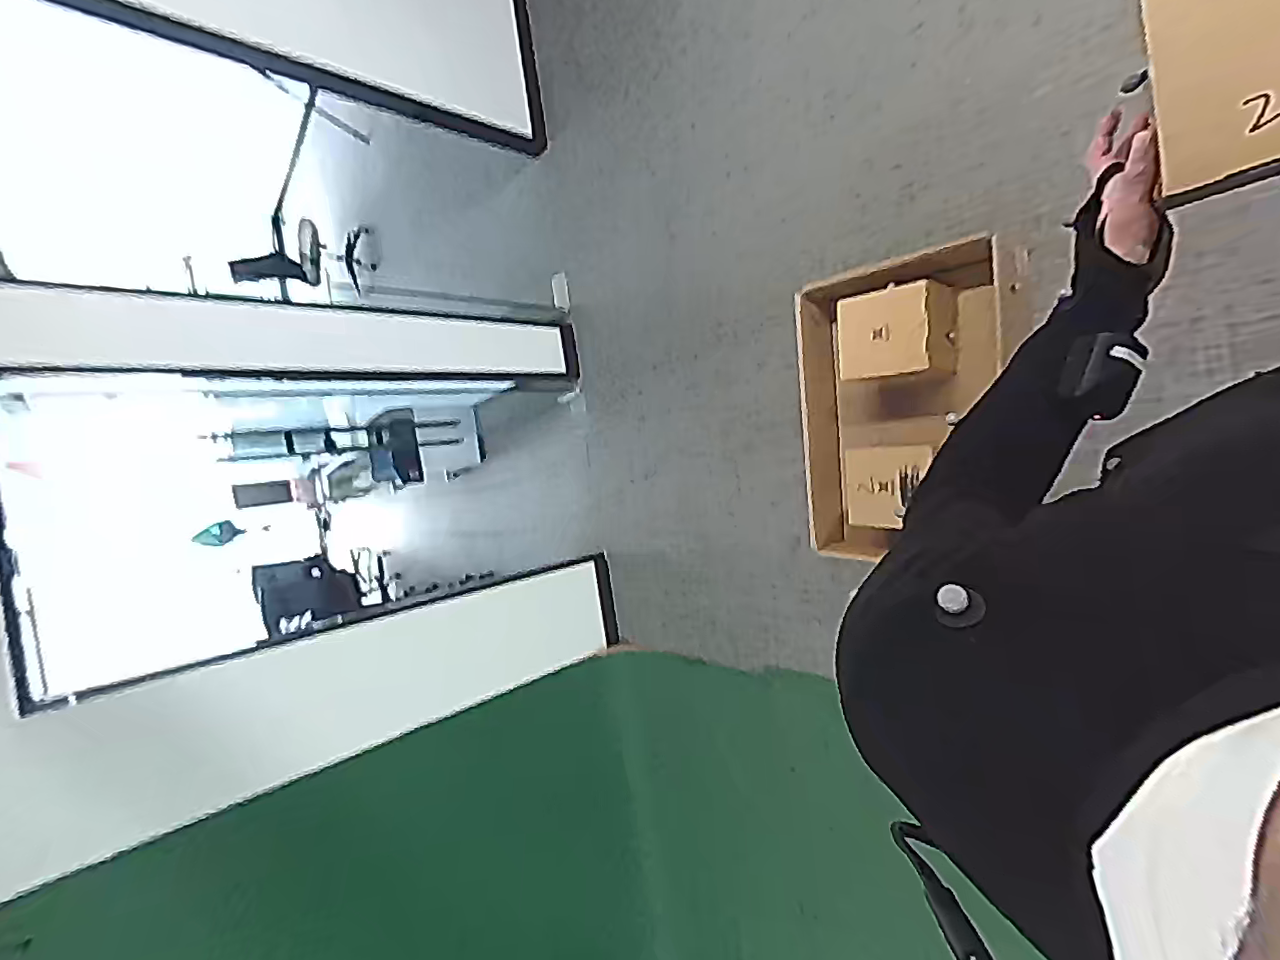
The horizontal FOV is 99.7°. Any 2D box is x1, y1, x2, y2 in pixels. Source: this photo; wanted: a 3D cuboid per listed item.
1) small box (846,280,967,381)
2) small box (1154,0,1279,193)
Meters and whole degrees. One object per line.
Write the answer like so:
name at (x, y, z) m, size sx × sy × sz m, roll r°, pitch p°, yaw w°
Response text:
small box at (0.552, -0.299, 1.121) m, size 0.179 × 0.176 × 0.168 m, roll 0°, pitch 96°, yaw 48°
small box at (0.490, -0.333, 0.390) m, size 0.168 × 0.176 × 0.179 m, roll -6°, pitch 103°, yaw 46°
